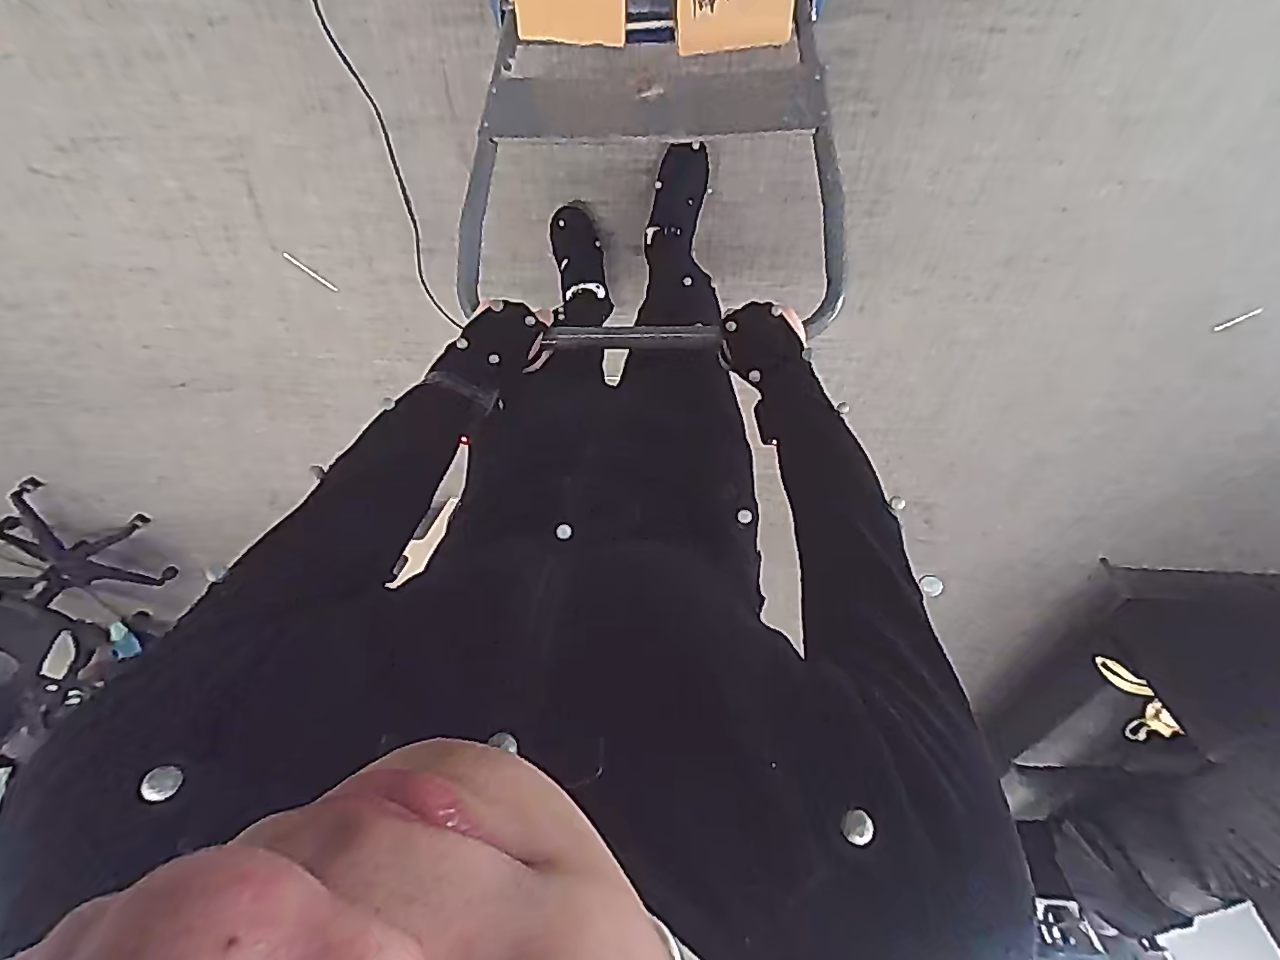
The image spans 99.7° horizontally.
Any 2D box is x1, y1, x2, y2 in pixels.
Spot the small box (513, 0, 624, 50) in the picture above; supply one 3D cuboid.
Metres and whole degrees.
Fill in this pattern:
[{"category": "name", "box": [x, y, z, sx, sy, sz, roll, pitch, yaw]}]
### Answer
[{"category": "small box", "box": [-0.103, -0.789, 0.802, 0.168, 0.176, 0.179, 3, 154, -3]}]
